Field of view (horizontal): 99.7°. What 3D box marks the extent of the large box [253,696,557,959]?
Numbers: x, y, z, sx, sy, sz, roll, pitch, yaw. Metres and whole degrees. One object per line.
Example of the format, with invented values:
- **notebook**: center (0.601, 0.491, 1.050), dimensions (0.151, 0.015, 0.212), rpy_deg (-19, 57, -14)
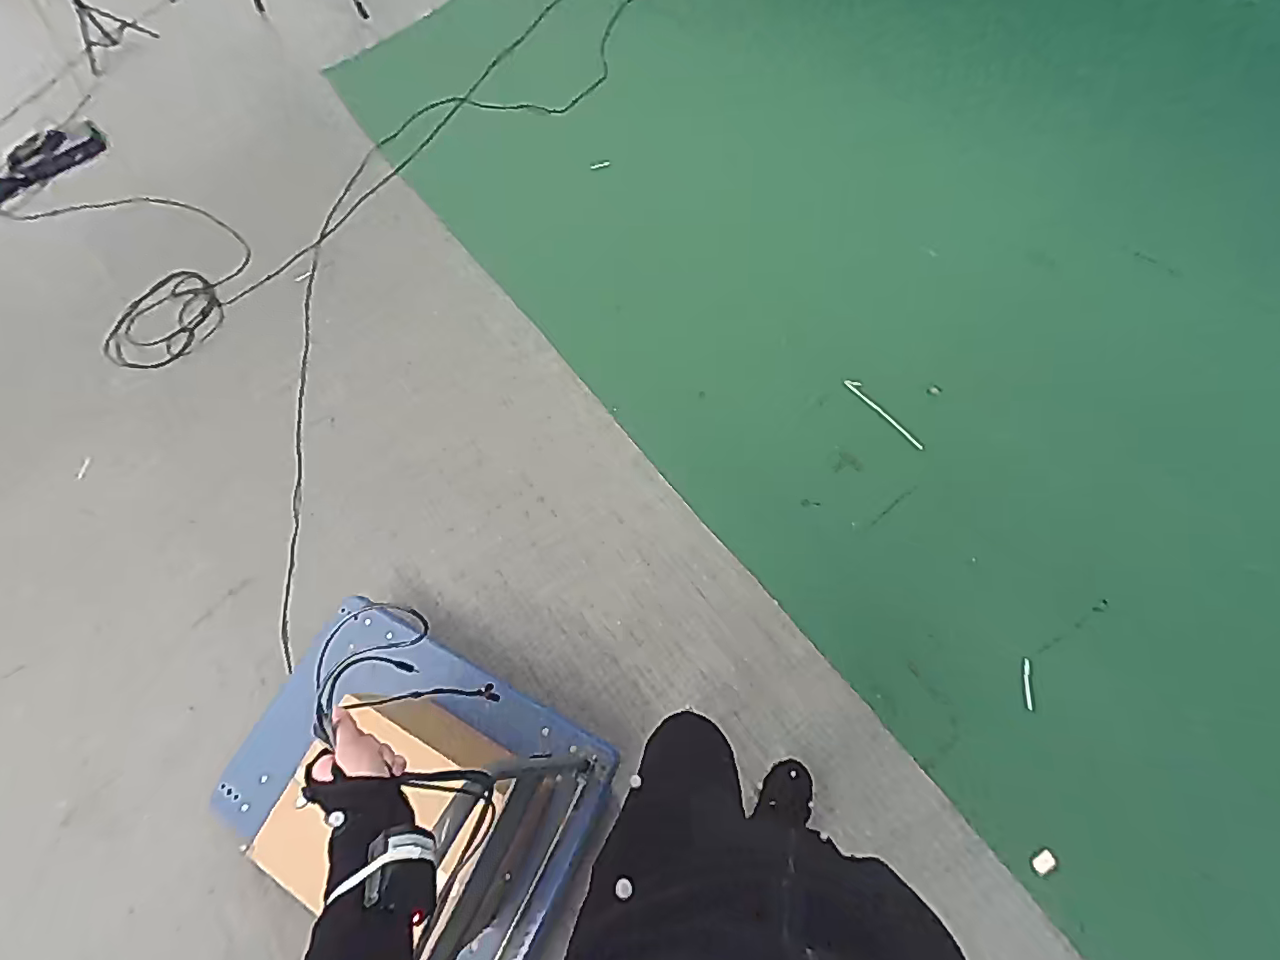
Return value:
- **large box**: center (-0.447, 0.686, 1.109), dimensions (0.408, 0.320, 0.320), rpy_deg (22, 71, 19)
